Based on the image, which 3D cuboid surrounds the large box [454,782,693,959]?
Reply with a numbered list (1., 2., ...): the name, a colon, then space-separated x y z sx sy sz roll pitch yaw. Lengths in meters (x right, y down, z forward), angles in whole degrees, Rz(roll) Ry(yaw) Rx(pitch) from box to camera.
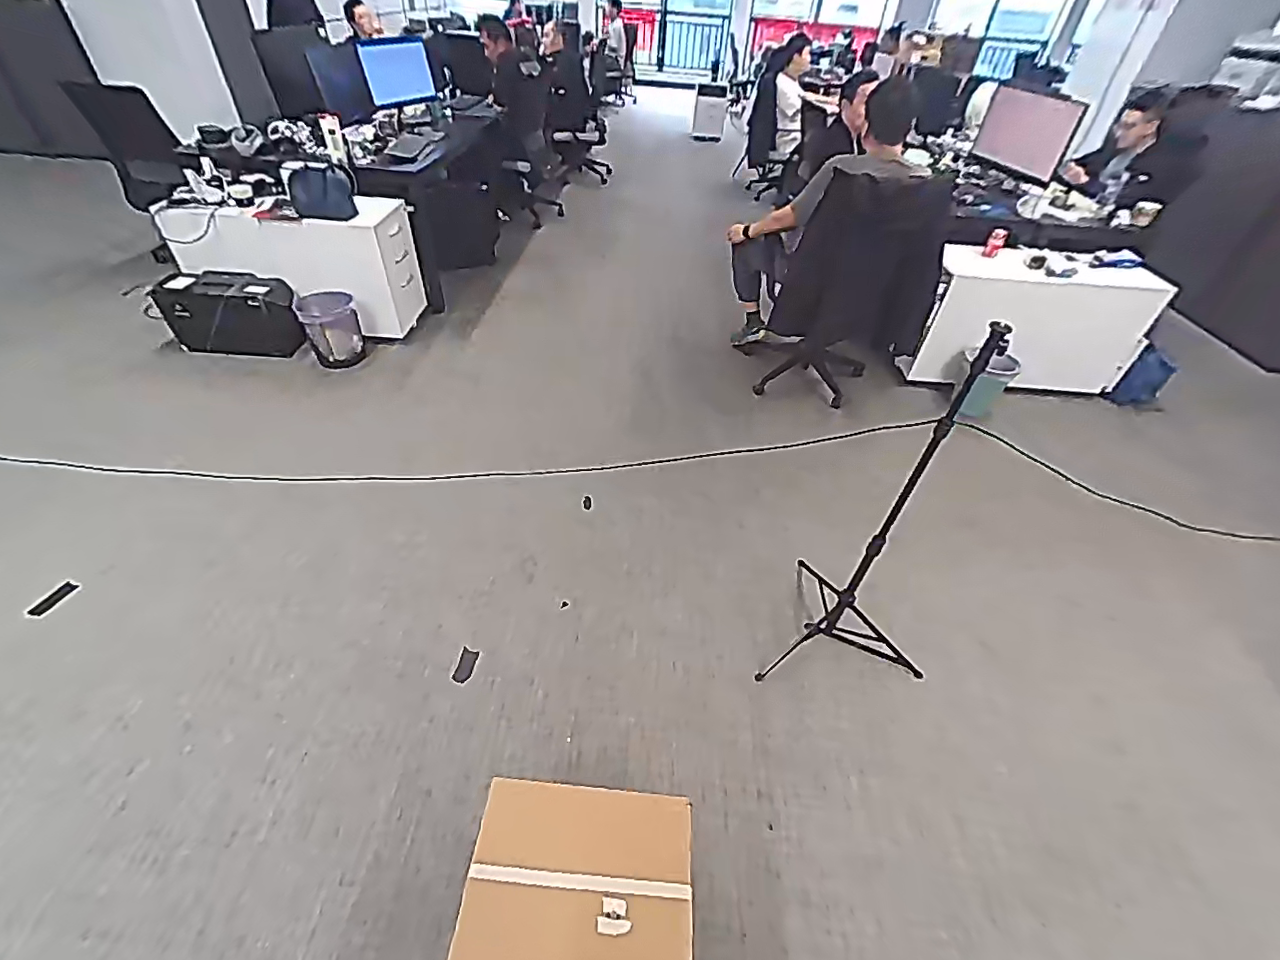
1. large box: -0.114 0.838 1.076 0.408 0.320 0.320 6 43 0
